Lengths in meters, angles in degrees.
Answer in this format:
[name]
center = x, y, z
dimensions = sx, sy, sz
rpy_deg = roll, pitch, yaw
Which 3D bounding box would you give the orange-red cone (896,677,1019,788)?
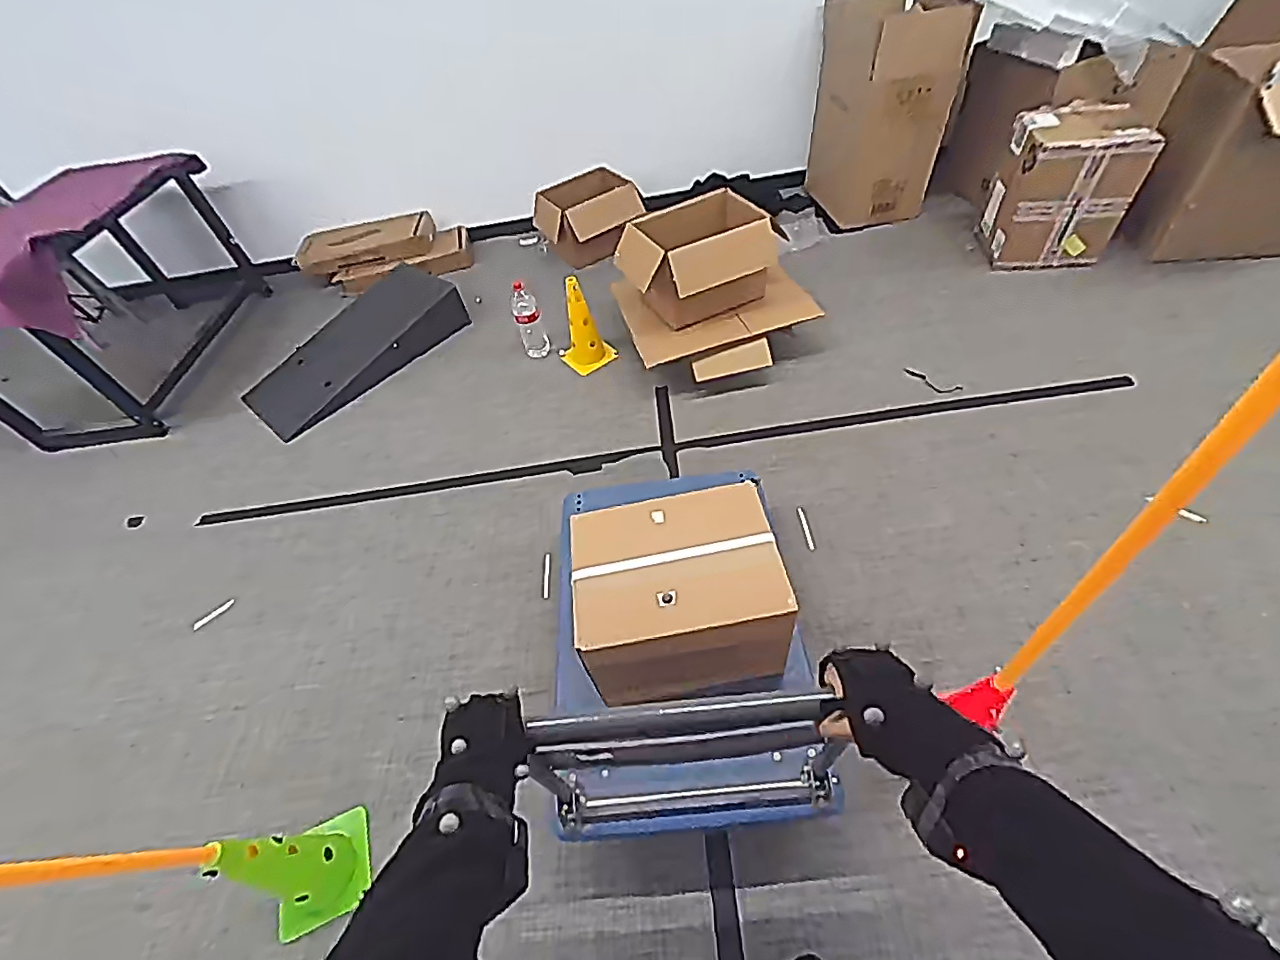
[orange-red cone]
center = 0.678, 0.478, 1.096
dimensions = 0.199, 0.360, 0.198
rpy_deg = -2, 51, 7
